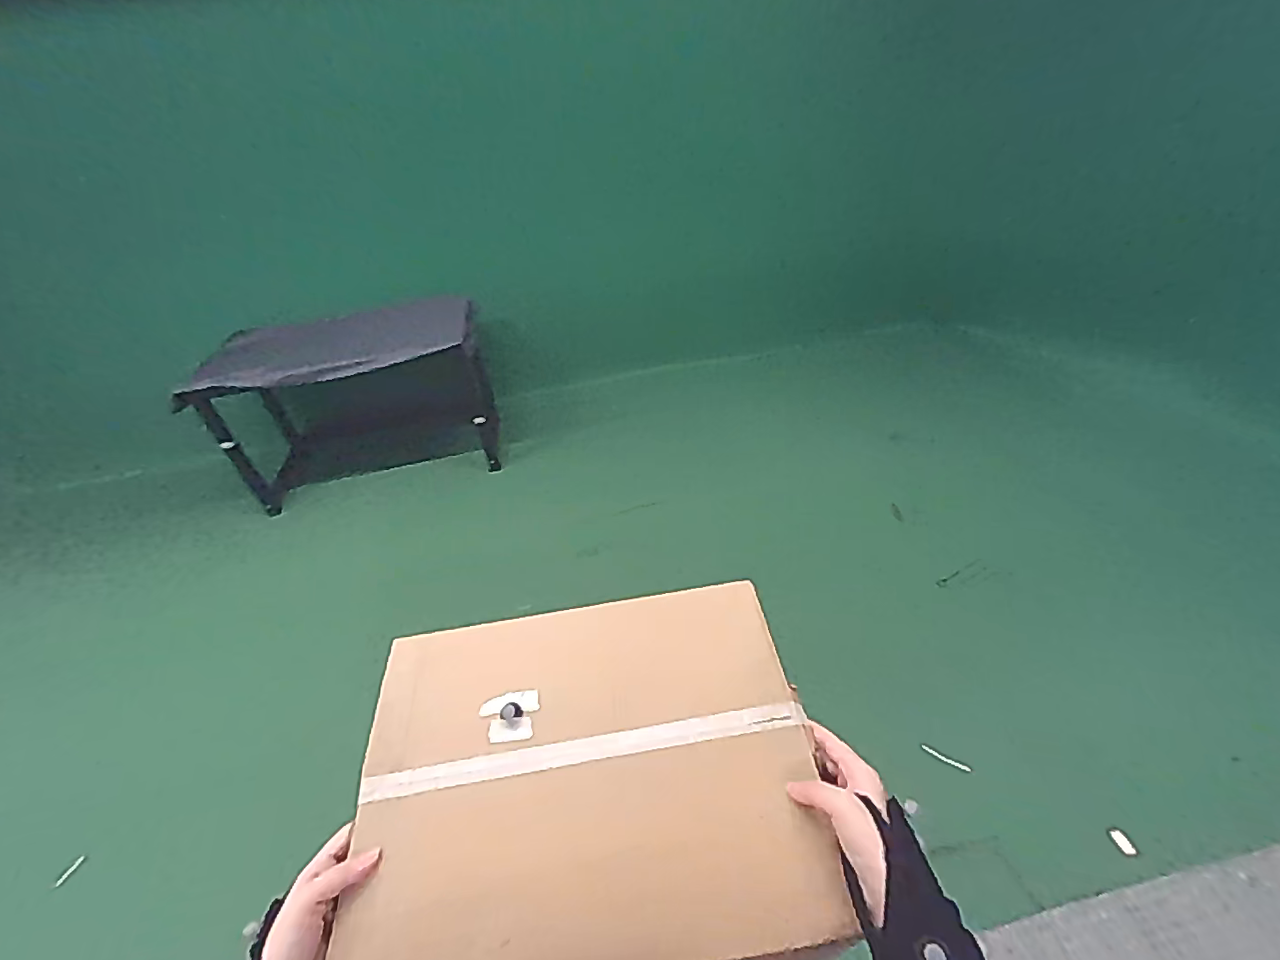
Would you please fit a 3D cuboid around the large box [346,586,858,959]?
[{"bbox_3d":[-0.032,0.365,0.608,0.408,0.320,0.320,-11,44,0],"label":"large box"}]
